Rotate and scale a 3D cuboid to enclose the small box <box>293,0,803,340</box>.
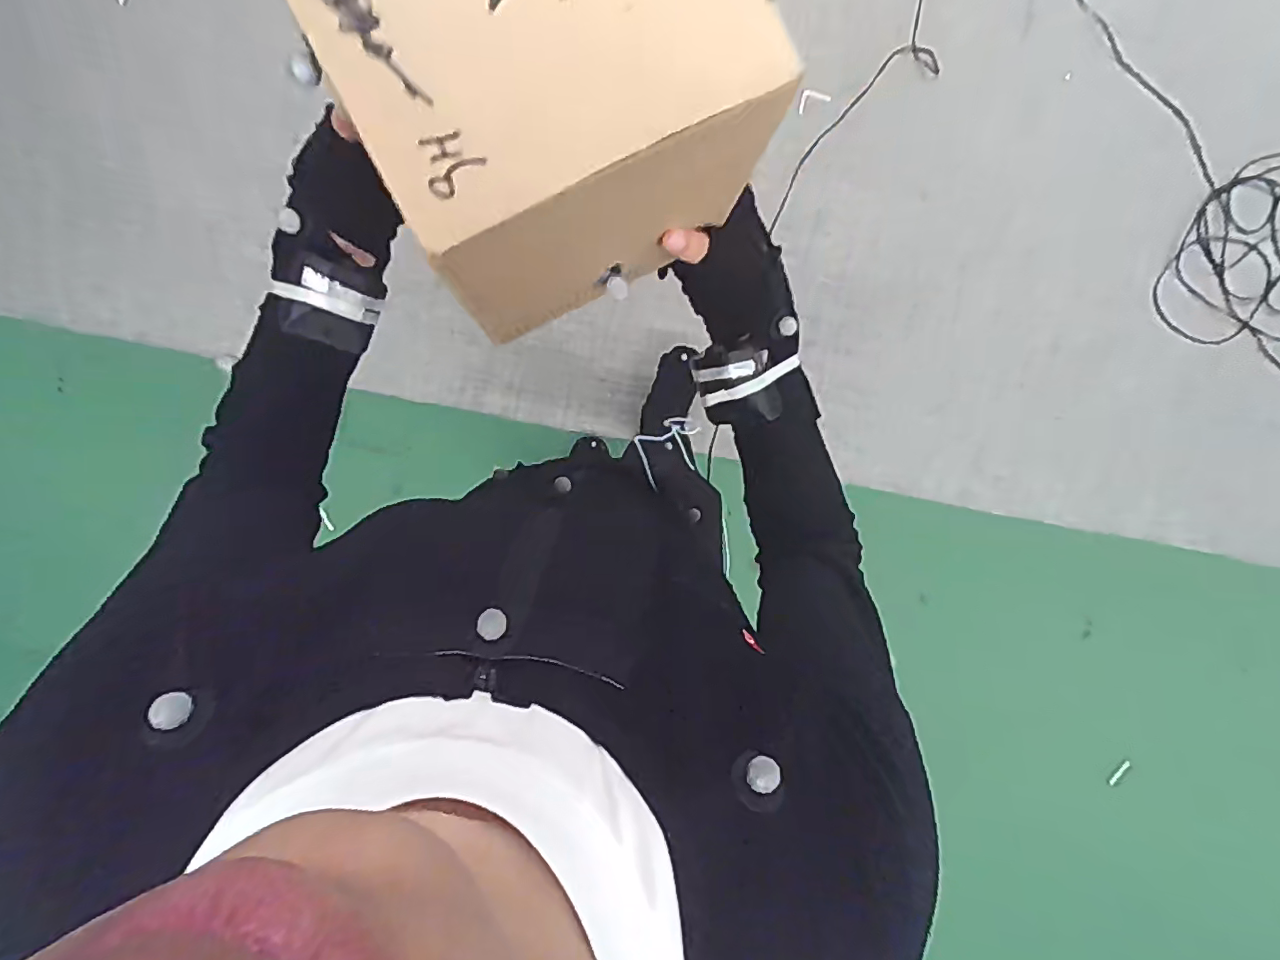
[{"bbox_3d":[-0.051,-0.198,0.291,0.179,0.176,0.168,-28,94,-5],"label":"small box"}]
